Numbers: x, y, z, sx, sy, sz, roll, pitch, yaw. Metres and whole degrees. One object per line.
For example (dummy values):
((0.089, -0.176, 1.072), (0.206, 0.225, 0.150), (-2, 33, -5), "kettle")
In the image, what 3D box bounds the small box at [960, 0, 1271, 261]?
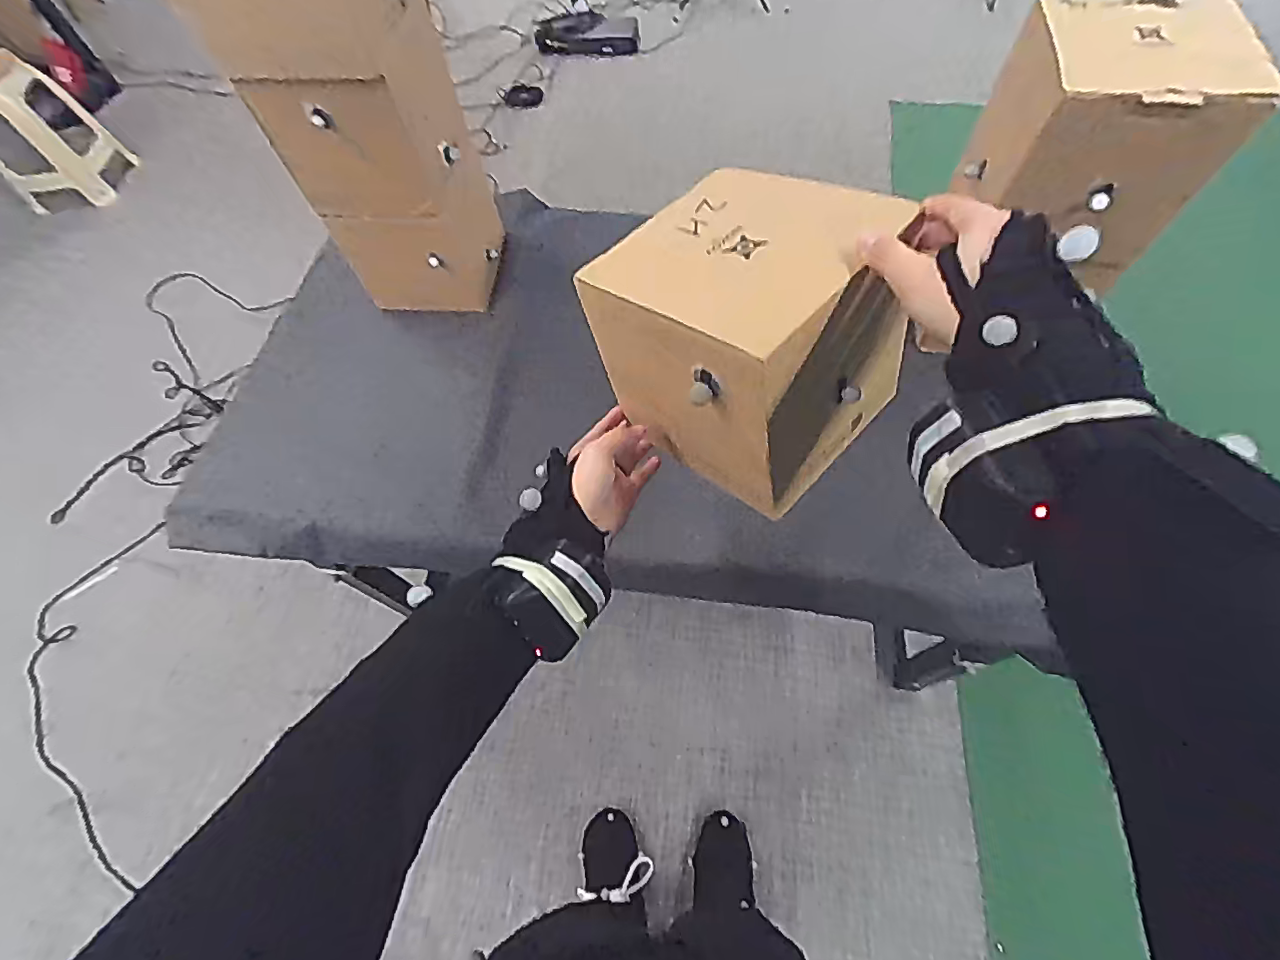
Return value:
((0.454, -0.351, 0.556), (0.168, 0.176, 0.179), (8, 65, 8), "small box")

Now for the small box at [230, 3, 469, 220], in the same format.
((-0.334, -0.444, 0.664), (0.179, 0.176, 0.168), (2, 64, 4), "small box")

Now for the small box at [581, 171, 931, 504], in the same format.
((0.089, -0.106, 0.425), (0.168, 0.176, 0.179), (-43, 53, -17), "small box")

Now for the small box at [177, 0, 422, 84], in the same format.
((-0.341, -0.511, 0.514), (0.179, 0.176, 0.168), (4, 64, 5), "small box")

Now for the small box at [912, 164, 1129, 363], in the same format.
((0.470, -0.281, 0.704), (0.168, 0.176, 0.179), (7, 64, 8), "small box")
